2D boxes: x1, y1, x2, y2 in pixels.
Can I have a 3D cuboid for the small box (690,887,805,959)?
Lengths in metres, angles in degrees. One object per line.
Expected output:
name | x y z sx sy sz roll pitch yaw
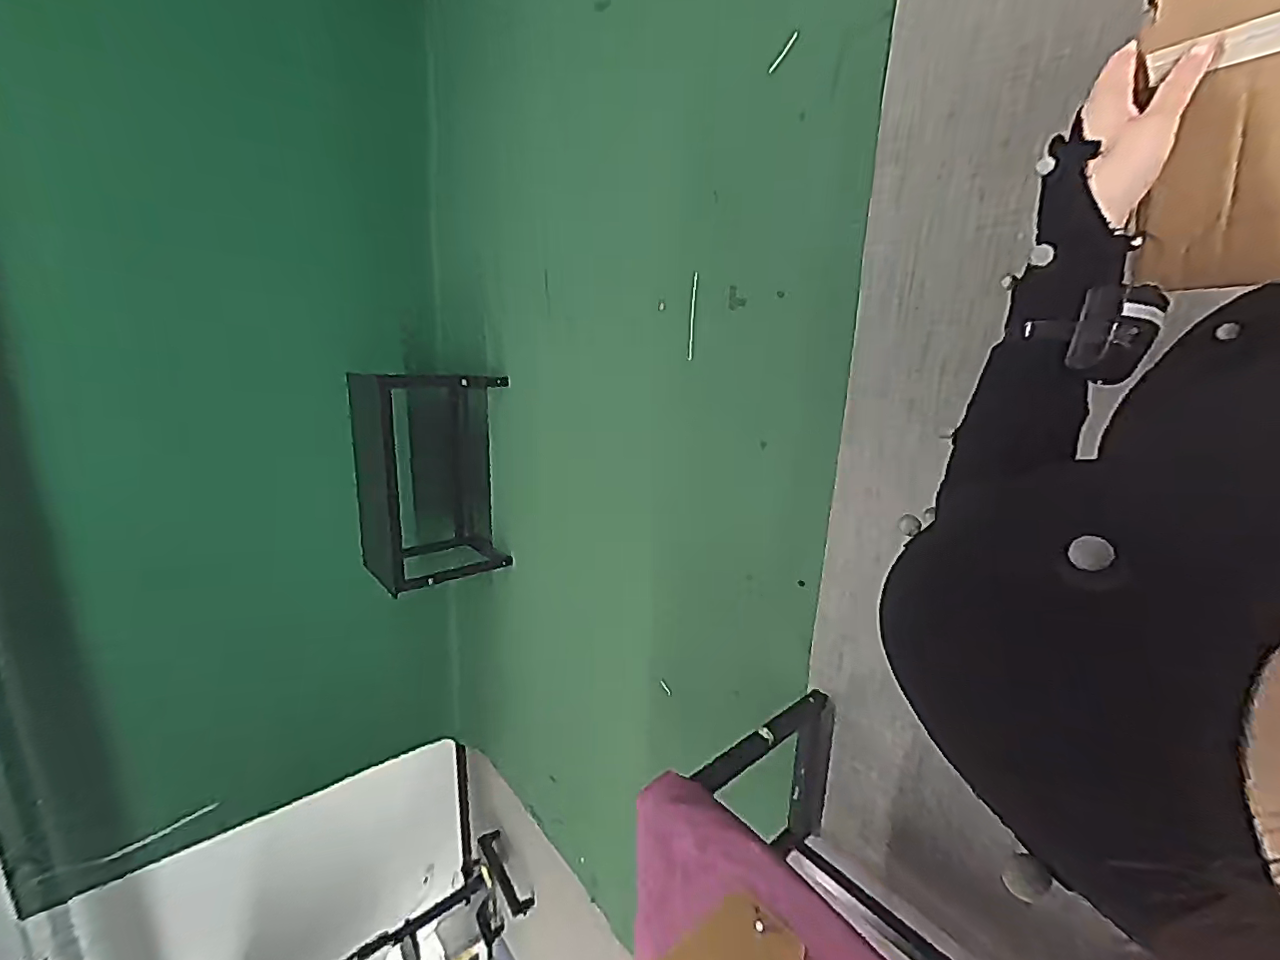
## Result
small box | 0.211 0.985 1.082 0.168 0.176 0.179 17 110 46
